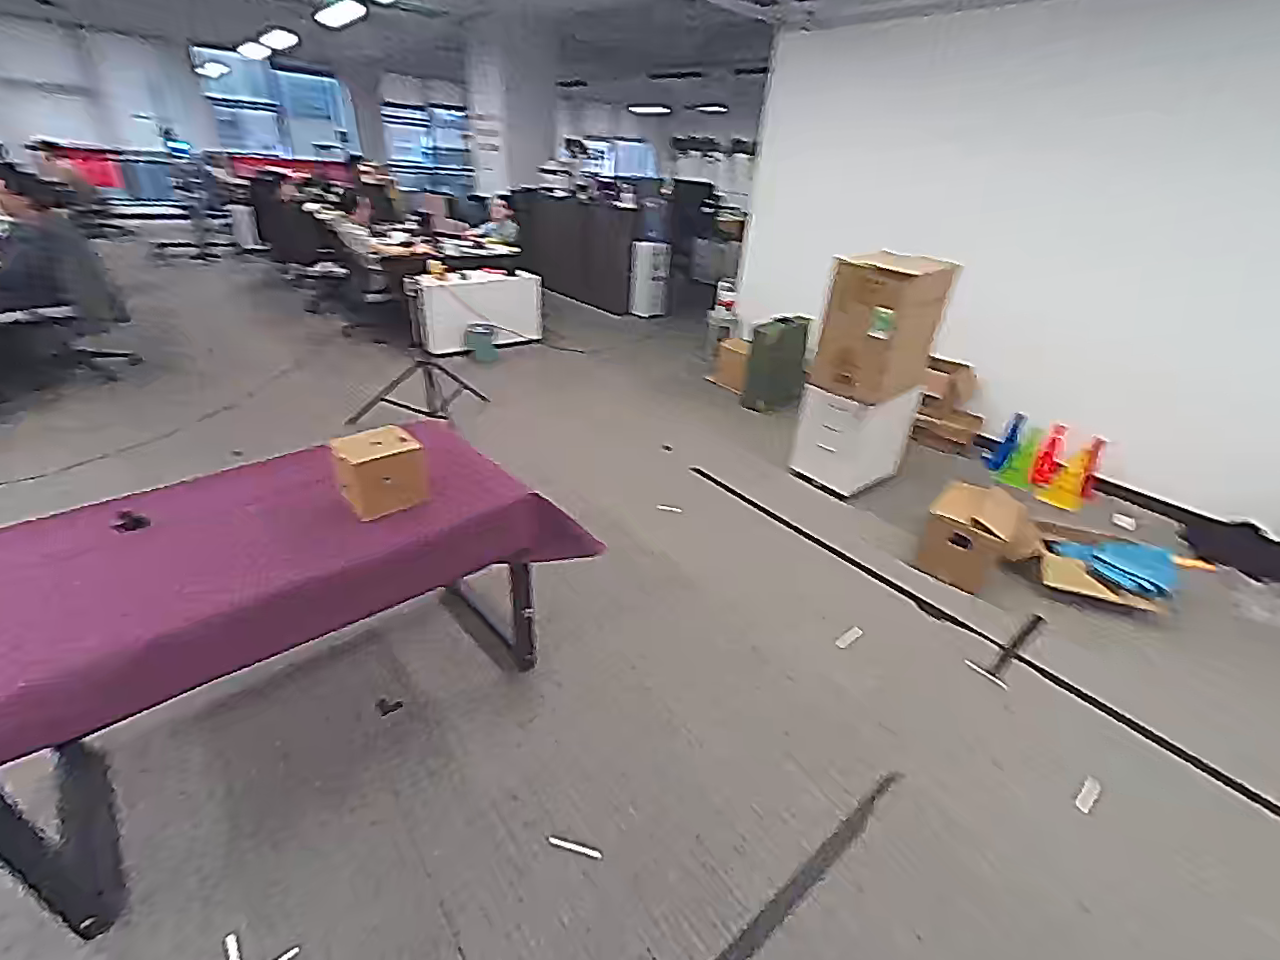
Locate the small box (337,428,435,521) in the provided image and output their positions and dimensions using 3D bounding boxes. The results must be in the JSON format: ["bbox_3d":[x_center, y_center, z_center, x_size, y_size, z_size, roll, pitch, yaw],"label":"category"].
[{"bbox_3d":[-0.669,-0.016,1.438,0.179,0.176,0.168,-24,40,-37],"label":"small box"}]
